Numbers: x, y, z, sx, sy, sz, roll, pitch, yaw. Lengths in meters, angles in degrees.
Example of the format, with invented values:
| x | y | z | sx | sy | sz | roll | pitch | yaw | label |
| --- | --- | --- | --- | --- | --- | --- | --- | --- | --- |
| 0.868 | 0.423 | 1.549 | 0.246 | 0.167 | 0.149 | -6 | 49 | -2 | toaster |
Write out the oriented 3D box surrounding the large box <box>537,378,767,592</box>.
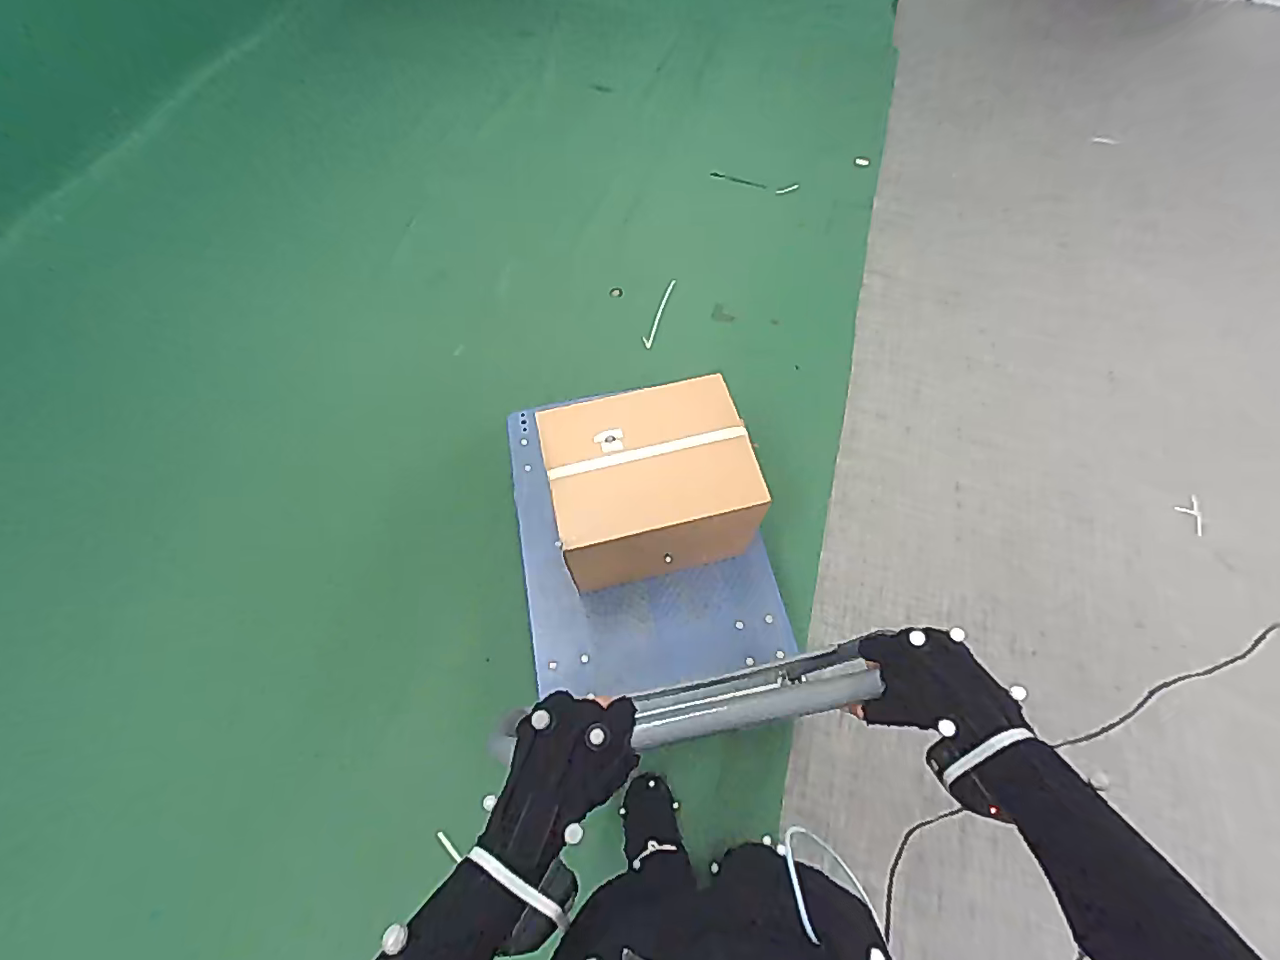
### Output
| x | y | z | sx | sy | sz | roll | pitch | yaw | label |
| --- | --- | --- | --- | --- | --- | --- | --- | --- | --- |
| 0.020 | 0.024 | 1.214 | 0.408 | 0.320 | 0.320 | -14 | 64 | -5 | large box |
